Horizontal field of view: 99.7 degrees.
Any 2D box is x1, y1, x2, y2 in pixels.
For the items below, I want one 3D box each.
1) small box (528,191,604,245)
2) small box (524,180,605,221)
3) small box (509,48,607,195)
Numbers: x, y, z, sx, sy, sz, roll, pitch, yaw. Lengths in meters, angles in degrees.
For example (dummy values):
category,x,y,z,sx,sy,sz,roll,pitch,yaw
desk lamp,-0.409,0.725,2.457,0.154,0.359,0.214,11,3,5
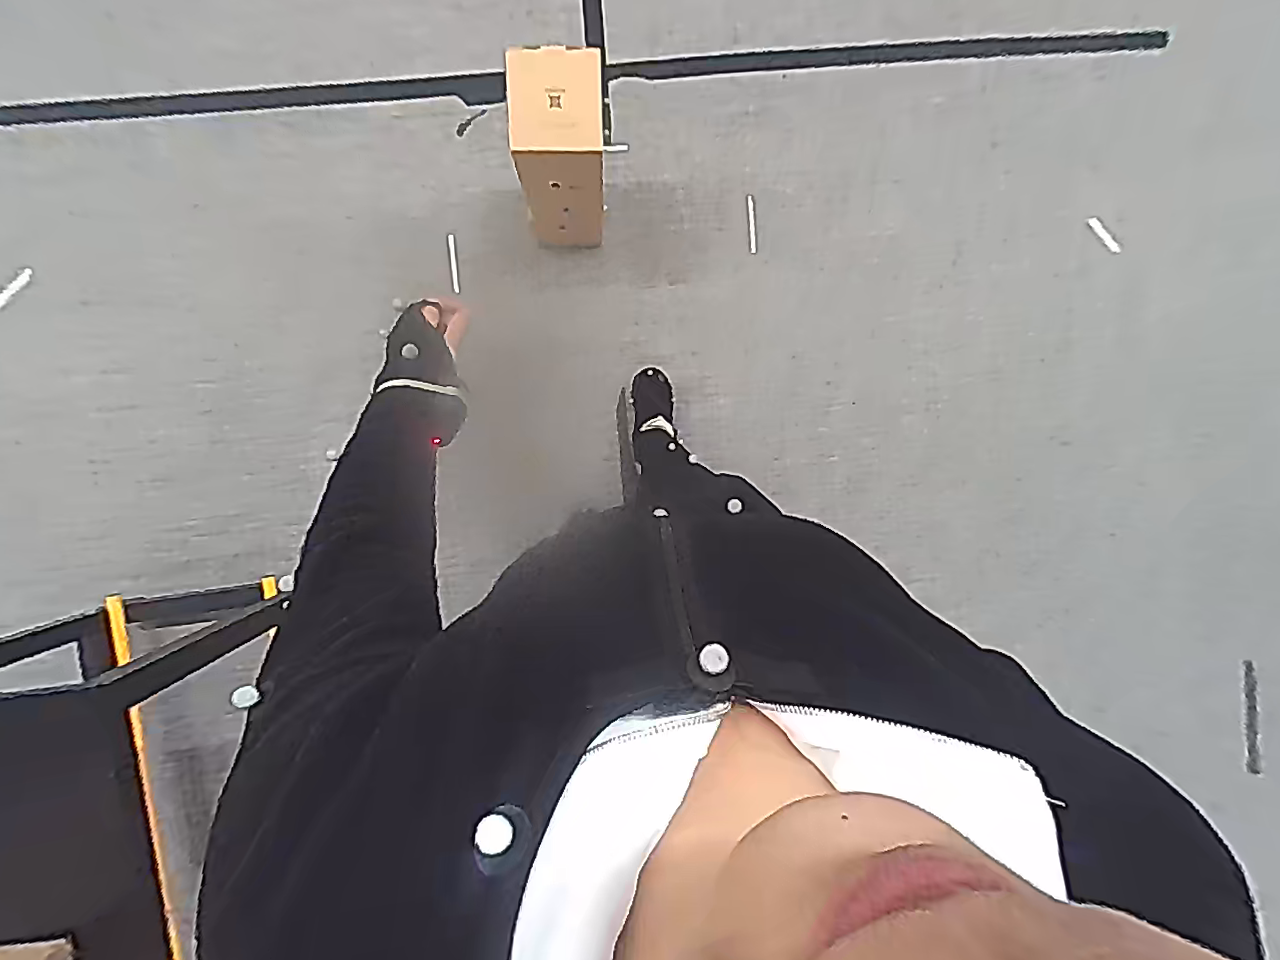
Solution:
category,x,y,z,sx,sy,sz,roll,pitch,yaw
small box,-0.180,-0.695,1.342,0.179,0.176,0.168,-2,94,-4
small box,-0.162,-0.689,1.179,0.168,0.176,0.179,-2,94,-4
small box,-0.149,-0.664,1.018,0.168,0.176,0.179,-2,95,-3
